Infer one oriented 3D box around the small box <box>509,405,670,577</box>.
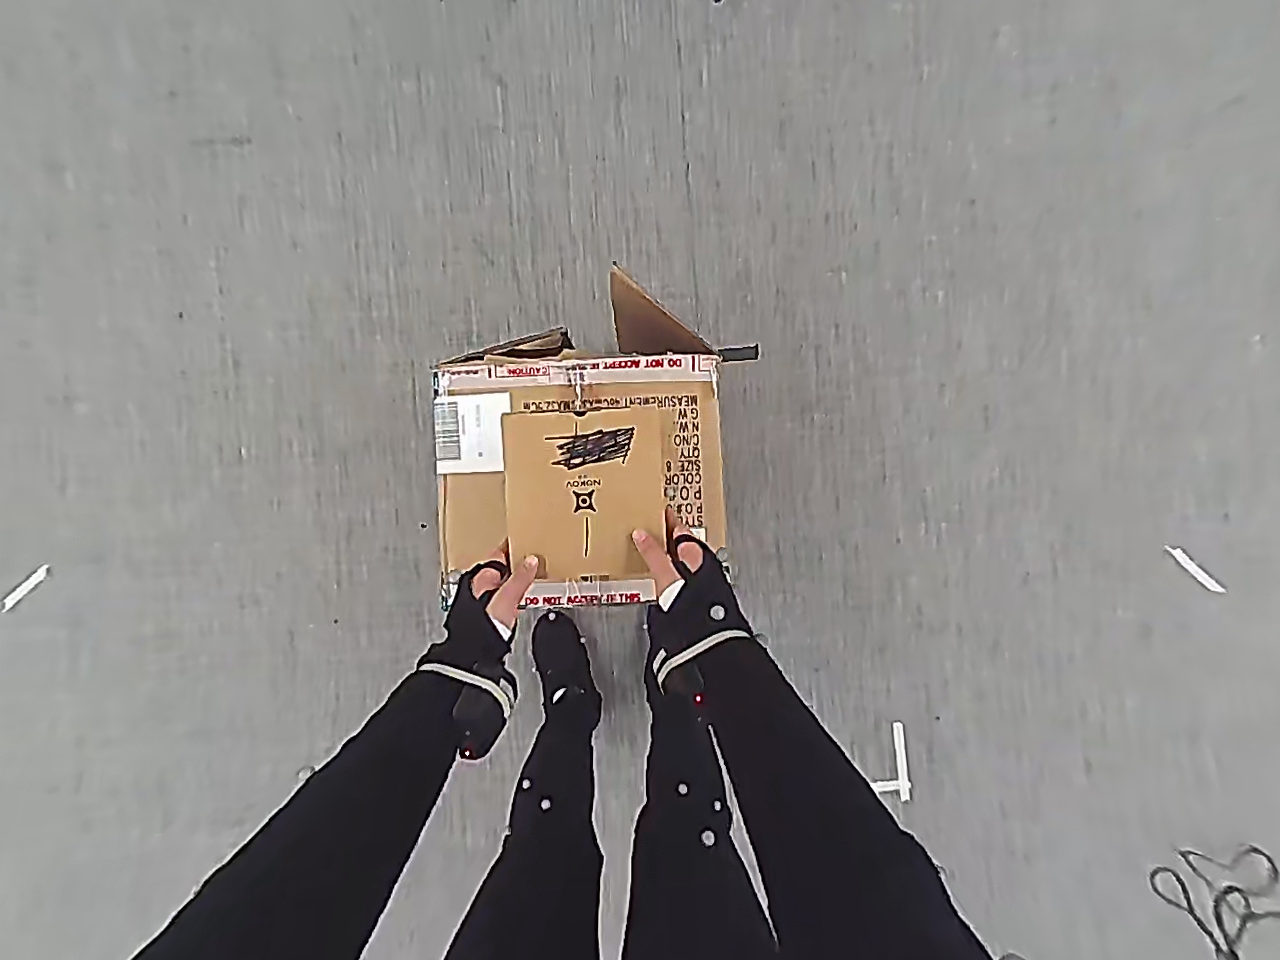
[{"bbox_3d":[-0.055,0.010,0.647,0.168,0.176,0.179,-3,92,0],"label":"small box"}]
